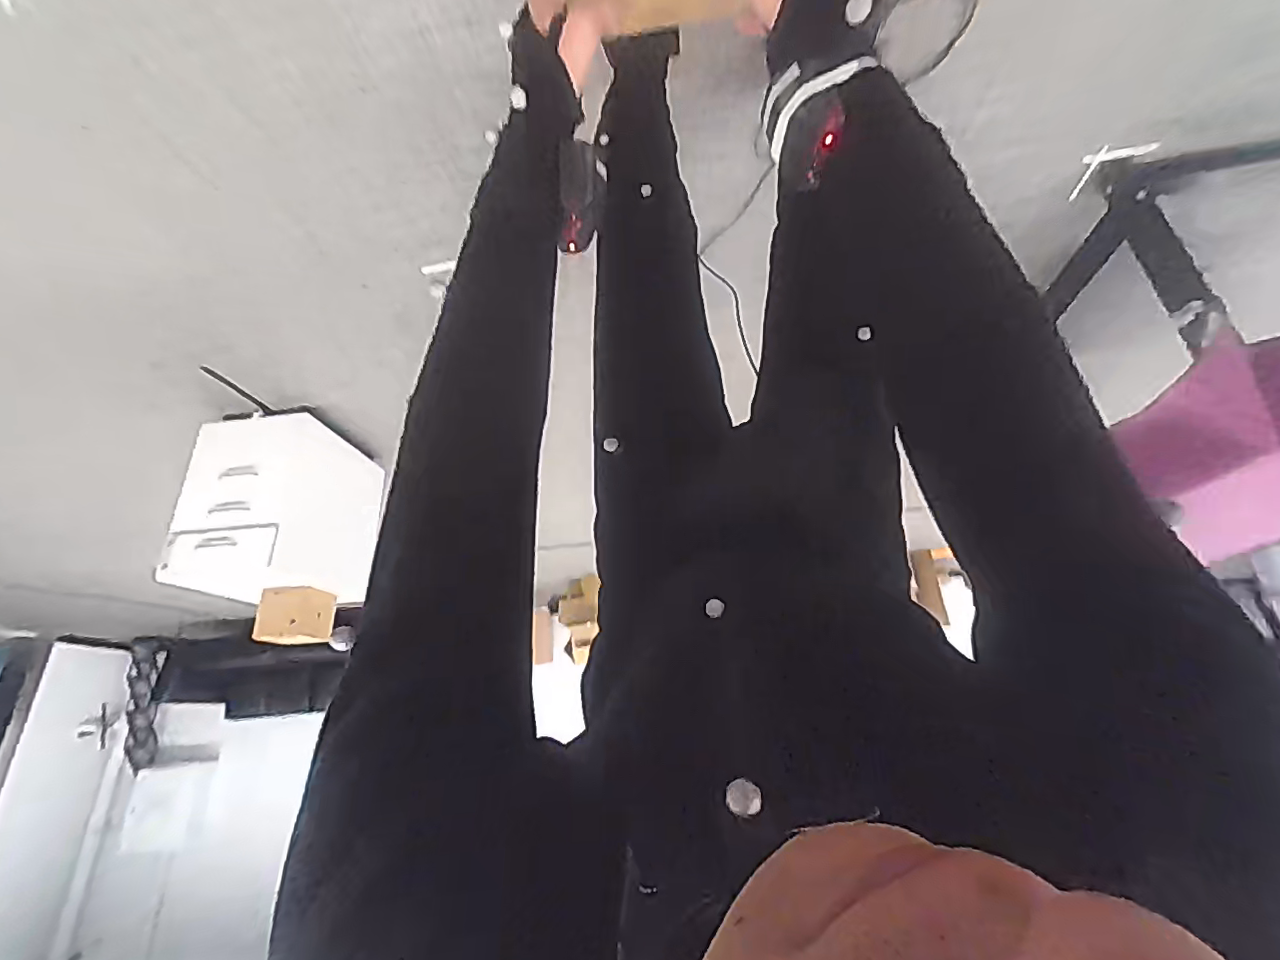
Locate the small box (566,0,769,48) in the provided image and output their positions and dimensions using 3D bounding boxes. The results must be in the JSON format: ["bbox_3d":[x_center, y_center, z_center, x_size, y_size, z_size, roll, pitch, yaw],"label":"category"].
[{"bbox_3d":[0.011,-0.502,0.437,0.179,0.176,0.168,-7,156,4],"label":"small box"}]
